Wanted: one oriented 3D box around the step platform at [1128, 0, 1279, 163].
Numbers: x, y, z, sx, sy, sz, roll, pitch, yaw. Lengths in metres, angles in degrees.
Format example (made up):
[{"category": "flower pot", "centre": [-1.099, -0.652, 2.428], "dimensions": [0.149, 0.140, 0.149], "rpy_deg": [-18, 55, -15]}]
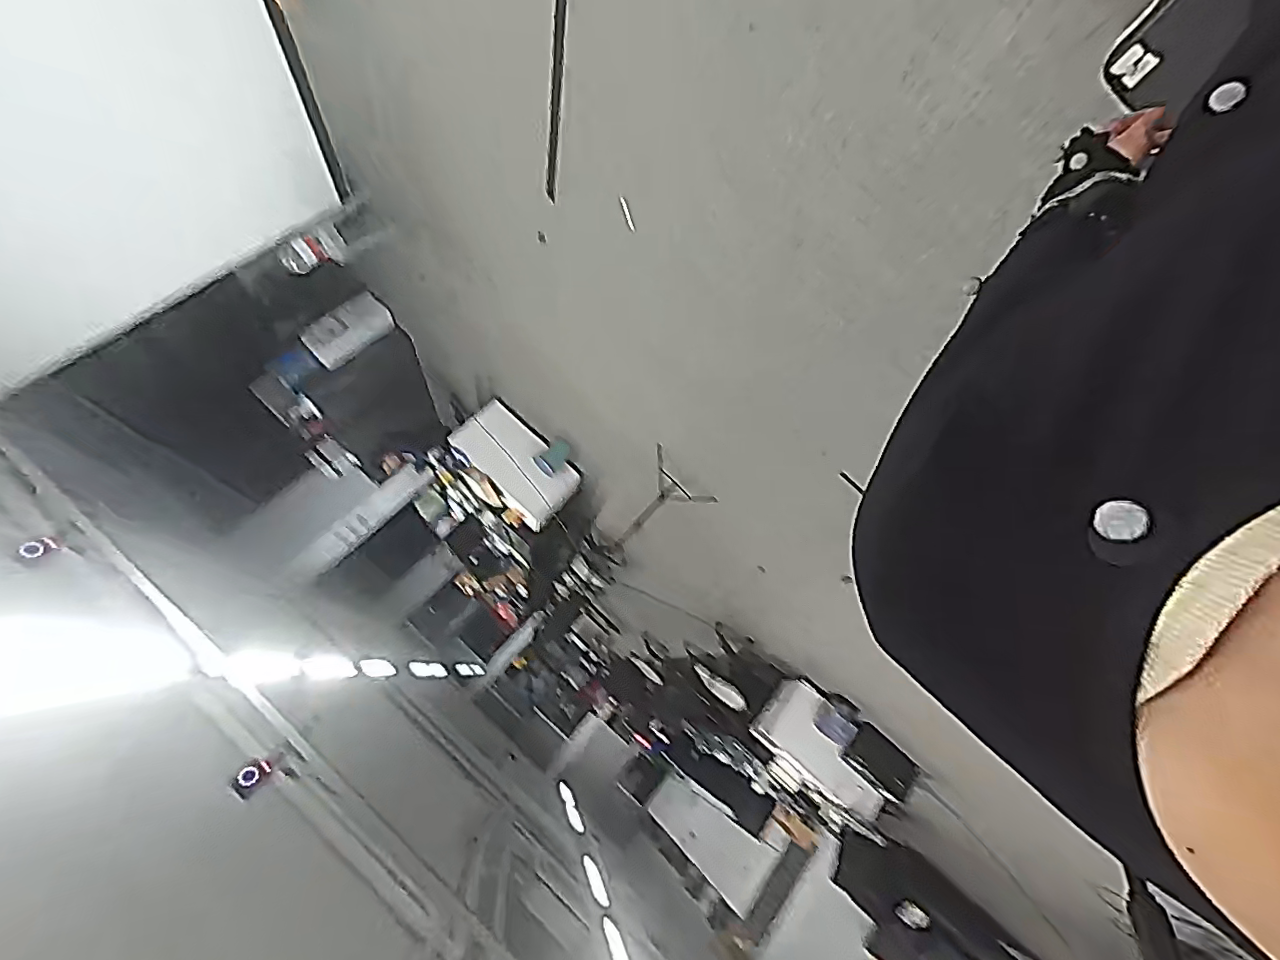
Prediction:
[{"category": "step platform", "centre": [1.033, -0.755, 0.642], "dimensions": [0.286, 0.204, 0.684], "rpy_deg": [45, 156, 1]}]
